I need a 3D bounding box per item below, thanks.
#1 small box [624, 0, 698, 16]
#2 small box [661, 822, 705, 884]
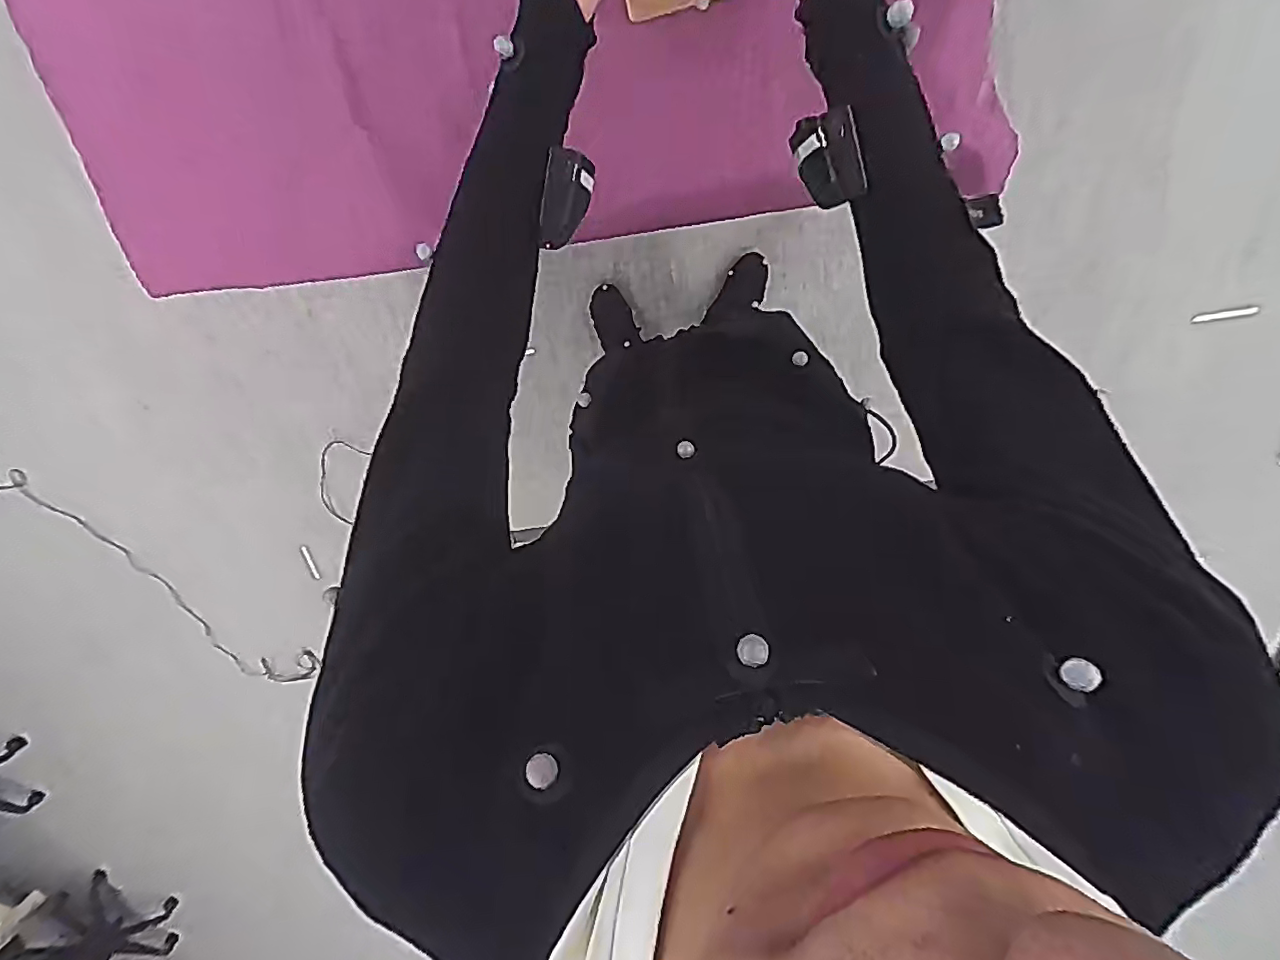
[{"bbox_3d":[0.051,-0.621,0.549,0.179,0.176,0.168,-11,113,7],"label":"small box"},{"bbox_3d":[0.186,1.627,2.362,0.179,0.176,0.168,-7,114,7],"label":"small box"}]
